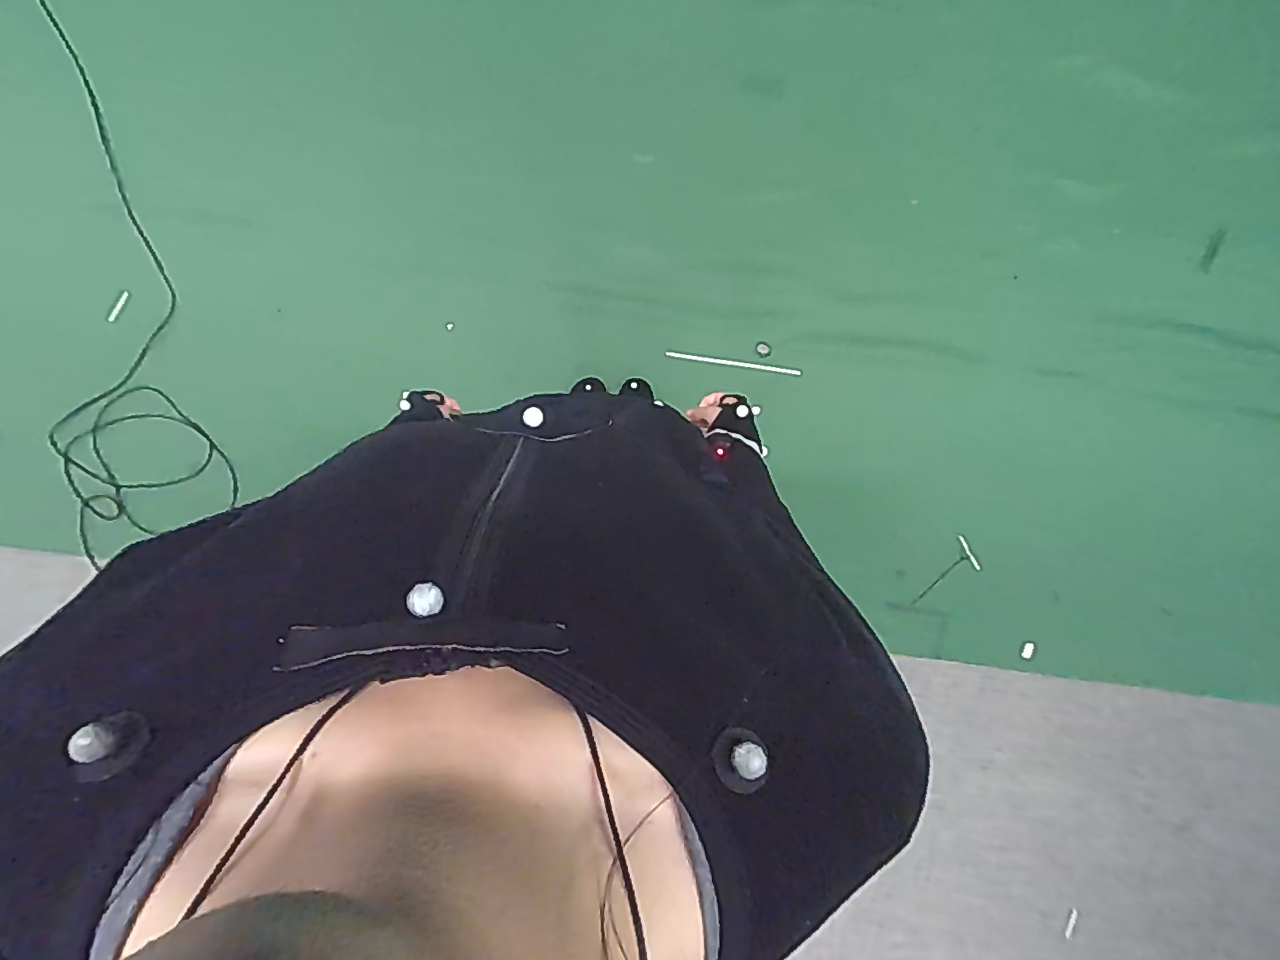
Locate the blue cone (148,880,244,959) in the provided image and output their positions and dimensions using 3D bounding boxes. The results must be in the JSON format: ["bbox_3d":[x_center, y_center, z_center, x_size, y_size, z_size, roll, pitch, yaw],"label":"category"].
[{"bbox_3d":[-1.346,1.380,1.521,0.193,0.380,0.192,-35,101,6],"label":"blue cone"}]
